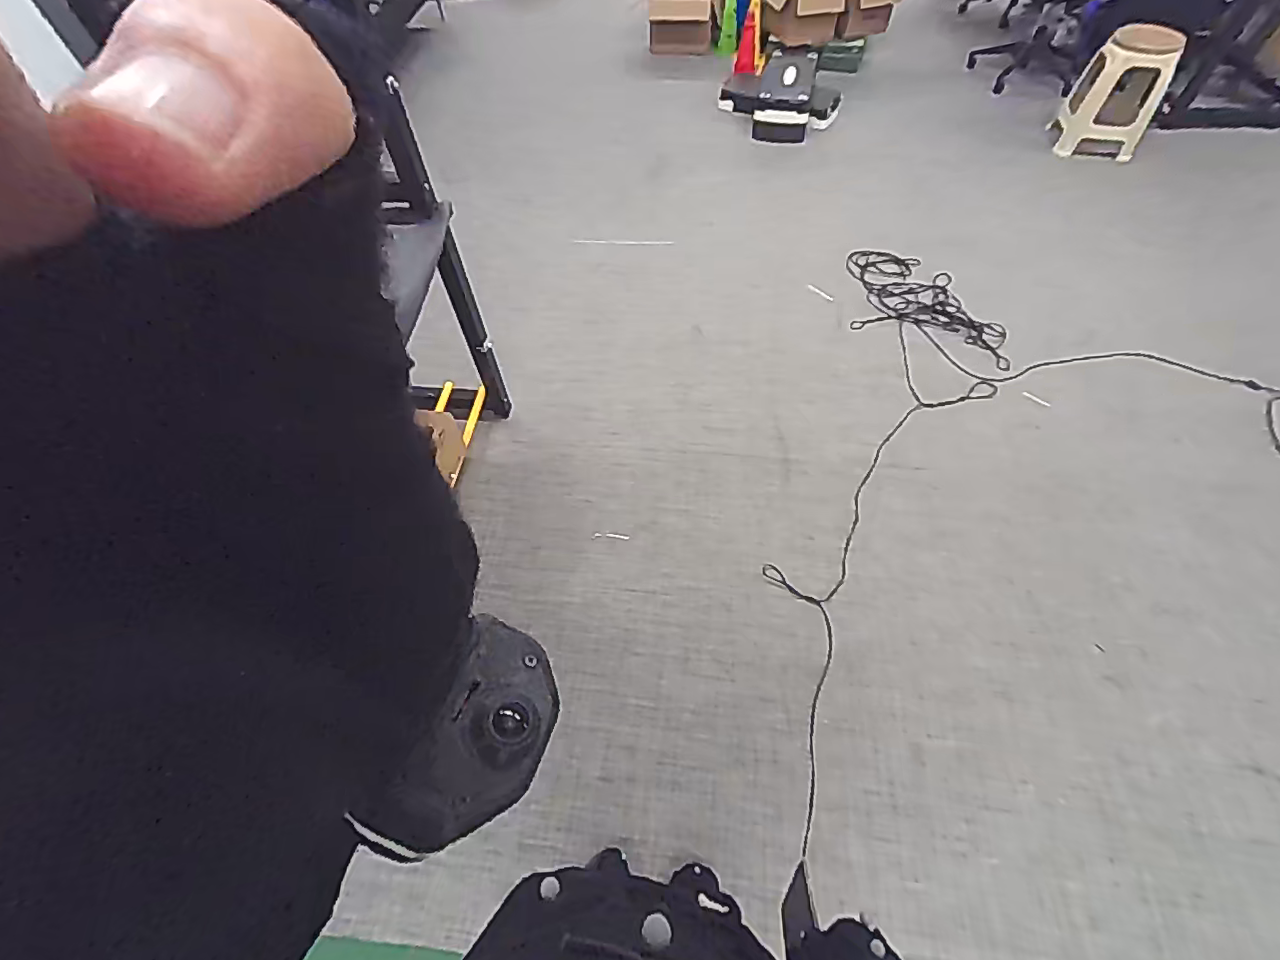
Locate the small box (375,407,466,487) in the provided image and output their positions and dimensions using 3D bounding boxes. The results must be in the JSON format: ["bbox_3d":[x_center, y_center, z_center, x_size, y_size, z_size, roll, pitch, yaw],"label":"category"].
[{"bbox_3d":[-0.644,-0.095,1.616,0.179,0.176,0.168,7,56,7],"label":"small box"}]
